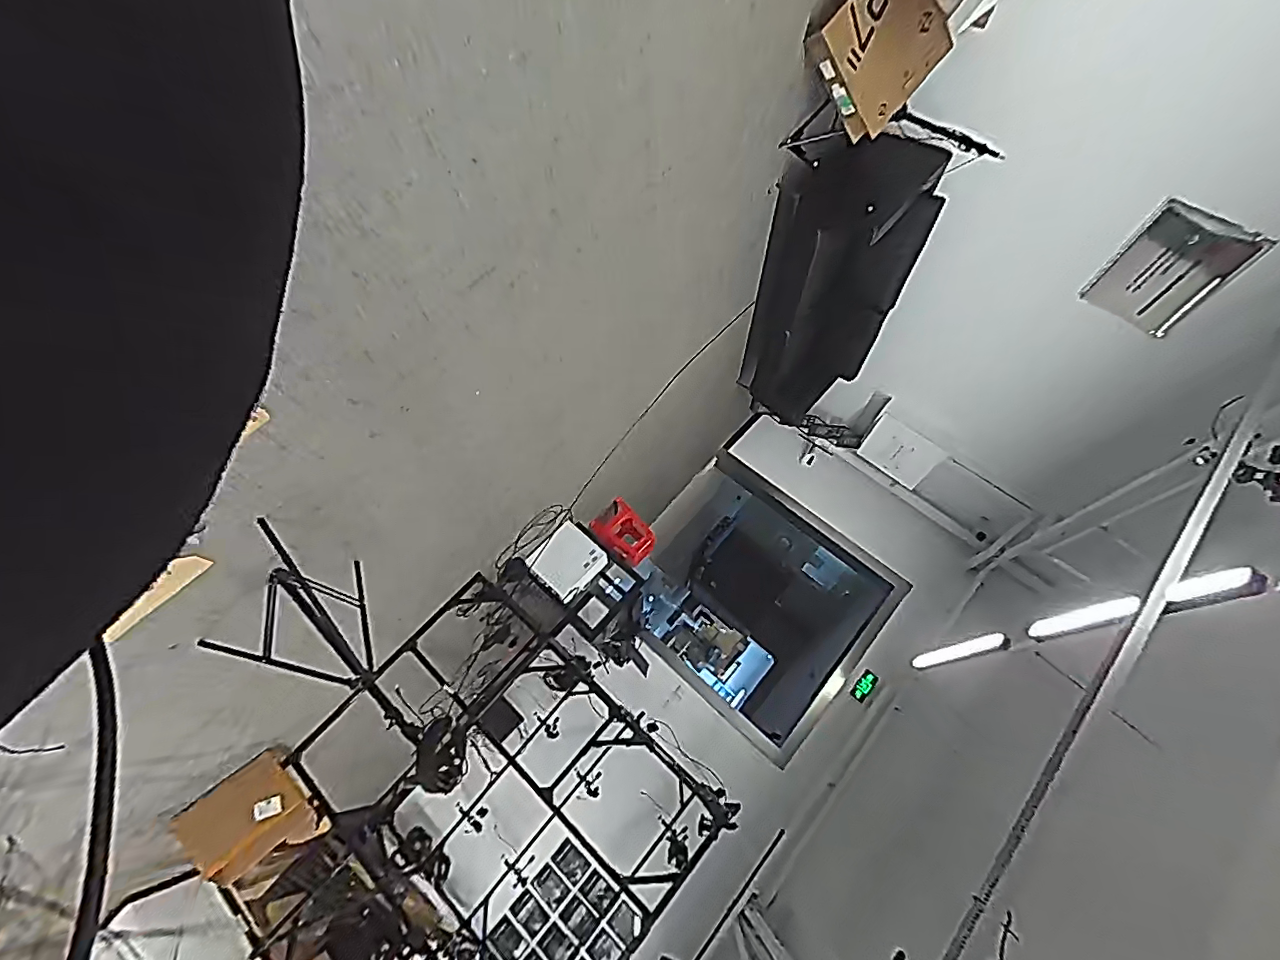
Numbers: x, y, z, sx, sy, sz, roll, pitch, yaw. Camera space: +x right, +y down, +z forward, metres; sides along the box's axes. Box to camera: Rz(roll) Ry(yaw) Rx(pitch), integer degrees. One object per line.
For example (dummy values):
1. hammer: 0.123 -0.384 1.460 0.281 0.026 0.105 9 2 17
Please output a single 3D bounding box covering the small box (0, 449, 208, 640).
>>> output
1. small box: -0.764 0.088 0.740 0.168 0.176 0.179 -44 160 -17
